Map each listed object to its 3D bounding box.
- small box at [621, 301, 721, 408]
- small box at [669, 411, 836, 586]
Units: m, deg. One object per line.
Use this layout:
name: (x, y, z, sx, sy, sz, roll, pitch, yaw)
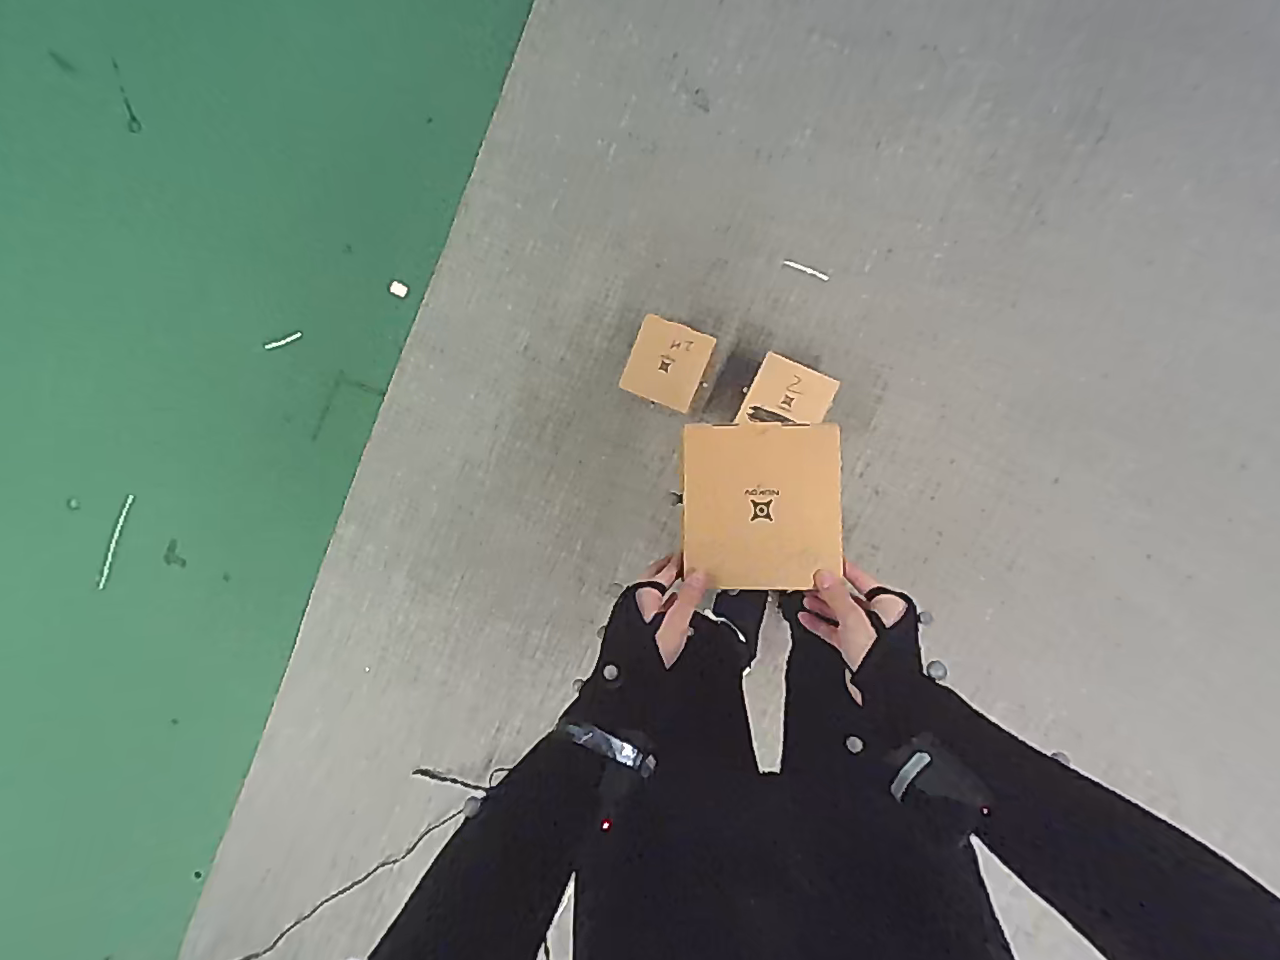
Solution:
small box: (0.079, -0.274, 1.228, 0.168, 0.176, 0.179, 25, 97, 6)
small box: (0.120, 0.022, 0.626, 0.168, 0.176, 0.179, 1, 86, 3)
